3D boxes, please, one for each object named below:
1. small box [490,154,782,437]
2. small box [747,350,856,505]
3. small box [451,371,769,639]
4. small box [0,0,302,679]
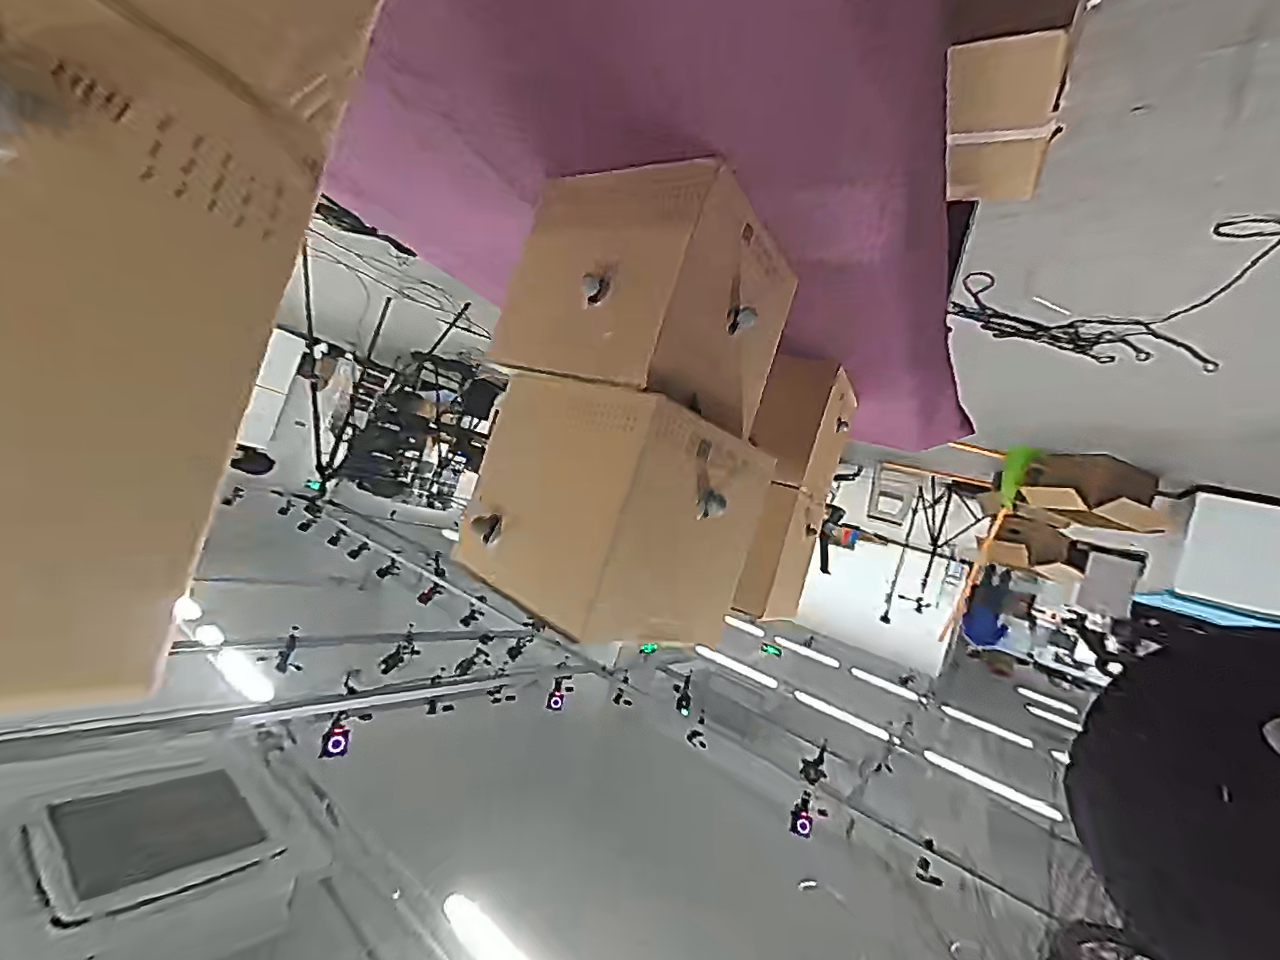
[{"bbox_3d":[0.007,-0.147,0.465,0.179,0.176,0.168,16,177,37],"label":"small box"},{"bbox_3d":[0.186,-0.078,0.765,0.179,0.176,0.168,15,176,31],"label":"small box"},{"bbox_3d":[-0.021,0.017,0.451,0.179,0.176,0.168,16,178,43],"label":"small box"},{"bbox_3d":[-0.221,-0.062,0.136,0.179,0.176,0.168,17,179,35],"label":"small box"}]
